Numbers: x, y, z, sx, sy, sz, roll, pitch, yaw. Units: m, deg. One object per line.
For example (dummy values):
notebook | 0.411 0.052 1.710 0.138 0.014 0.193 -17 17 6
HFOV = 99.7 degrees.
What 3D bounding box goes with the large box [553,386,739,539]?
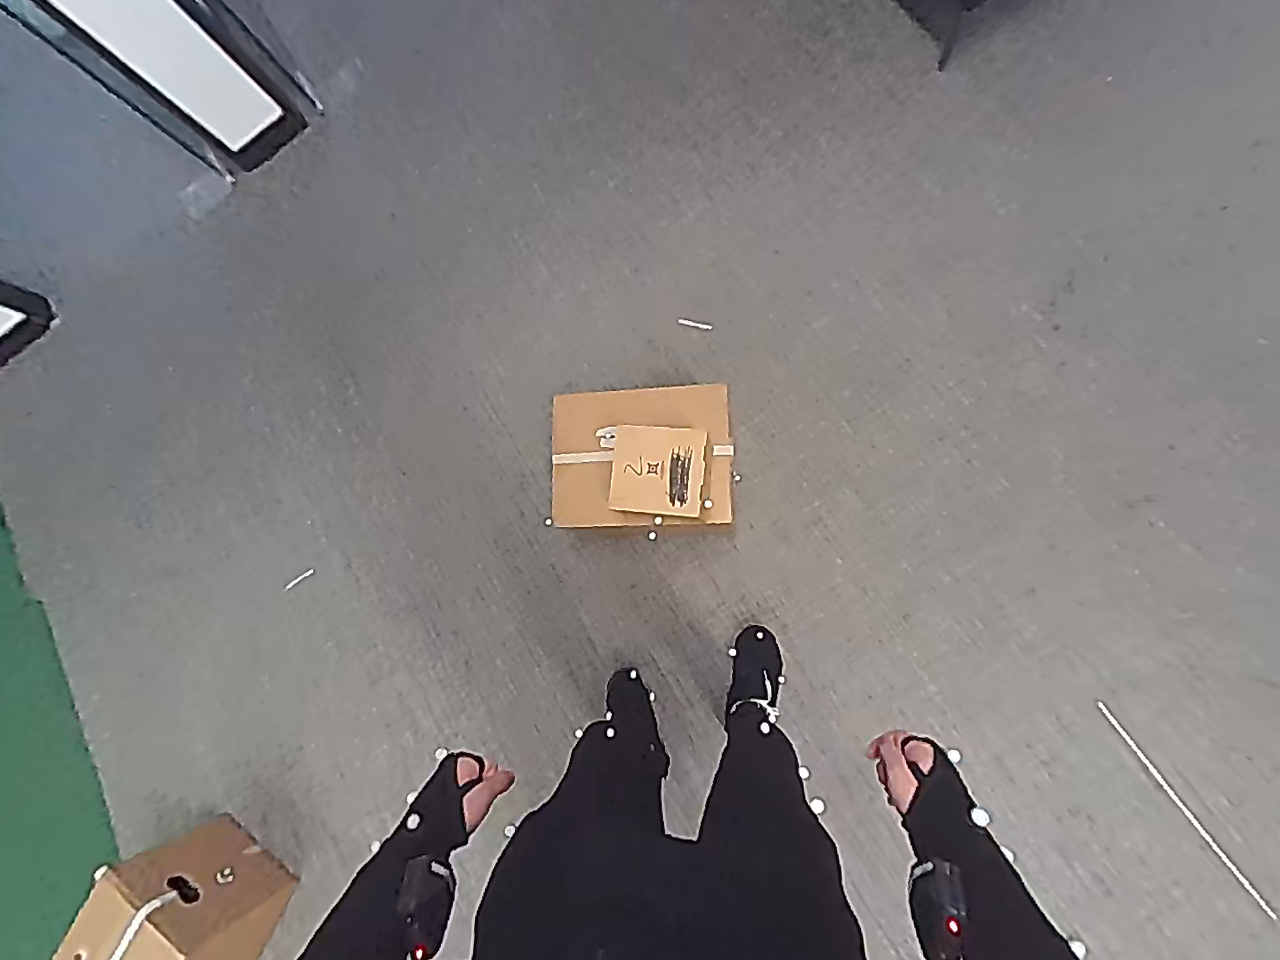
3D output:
large box | 0.029 -0.020 1.333 0.408 0.320 0.320 -3 79 12
